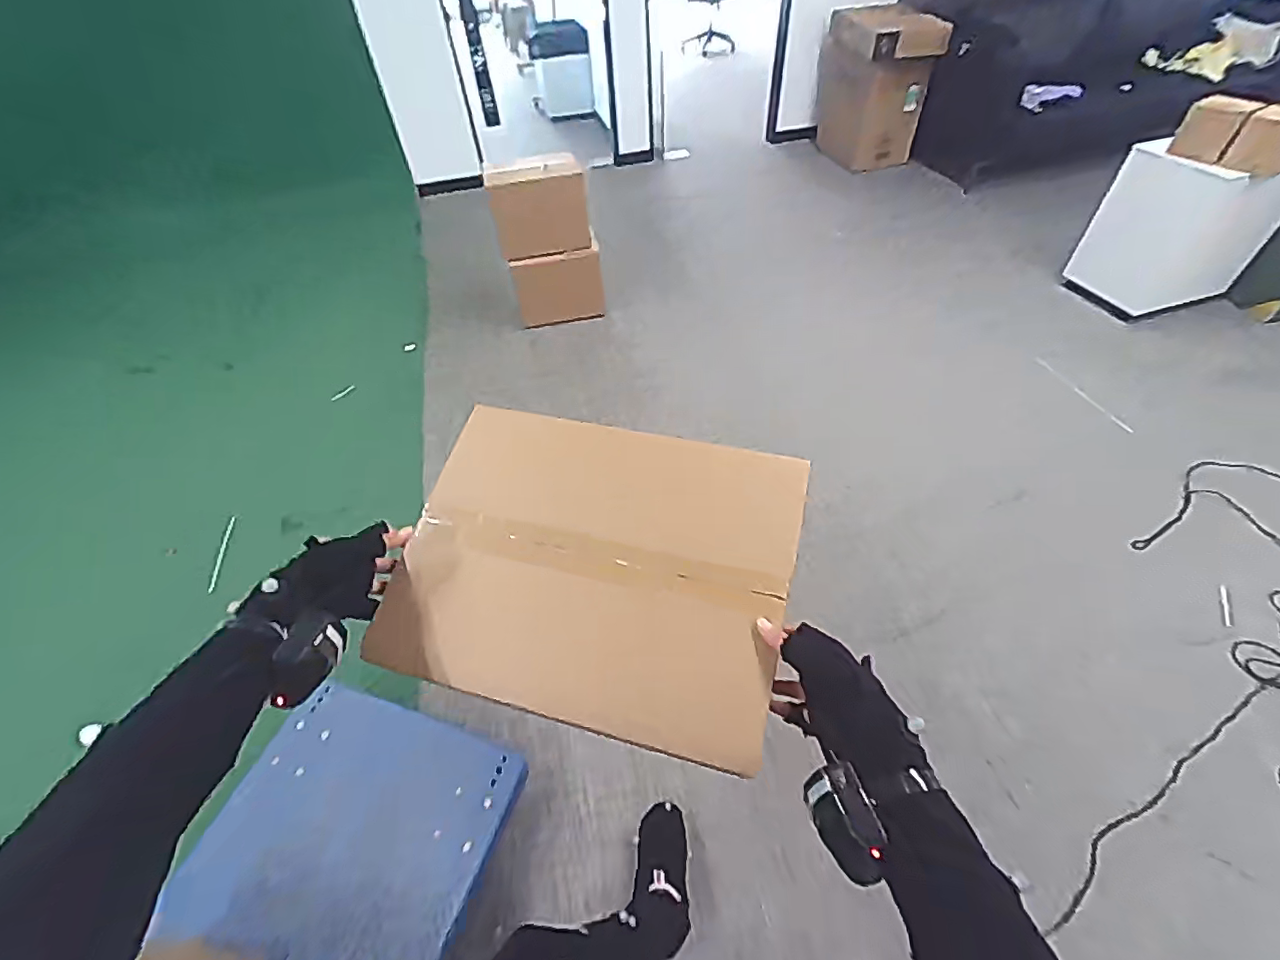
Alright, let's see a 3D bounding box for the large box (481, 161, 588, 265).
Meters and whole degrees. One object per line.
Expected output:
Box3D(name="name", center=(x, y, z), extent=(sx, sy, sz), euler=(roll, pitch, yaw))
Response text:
Box3D(name="large box", center=(-0.464, -1.185, 2.393), extent=(0.408, 0.320, 0.320), euler=(-12, 46, -8))
